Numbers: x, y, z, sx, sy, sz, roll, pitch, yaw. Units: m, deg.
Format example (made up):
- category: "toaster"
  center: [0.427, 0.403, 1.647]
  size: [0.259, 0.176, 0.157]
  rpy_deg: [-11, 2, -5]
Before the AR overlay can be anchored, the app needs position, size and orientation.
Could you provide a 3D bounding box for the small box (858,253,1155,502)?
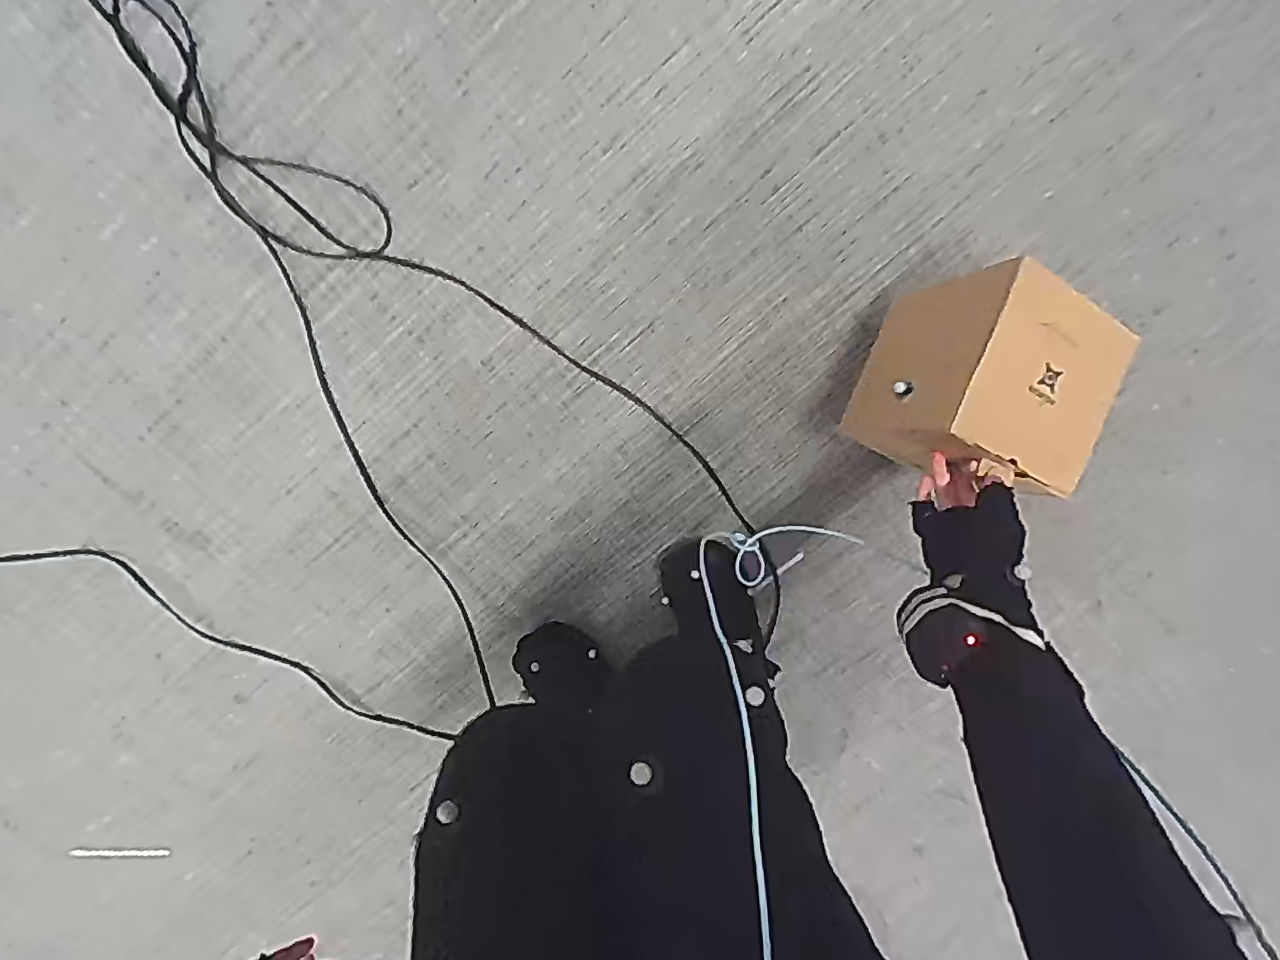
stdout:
- category: "small box"
  center: [0.364, -0.097, 0.570]
  size: [0.168, 0.176, 0.179]
  rpy_deg: [25, 89, -16]
